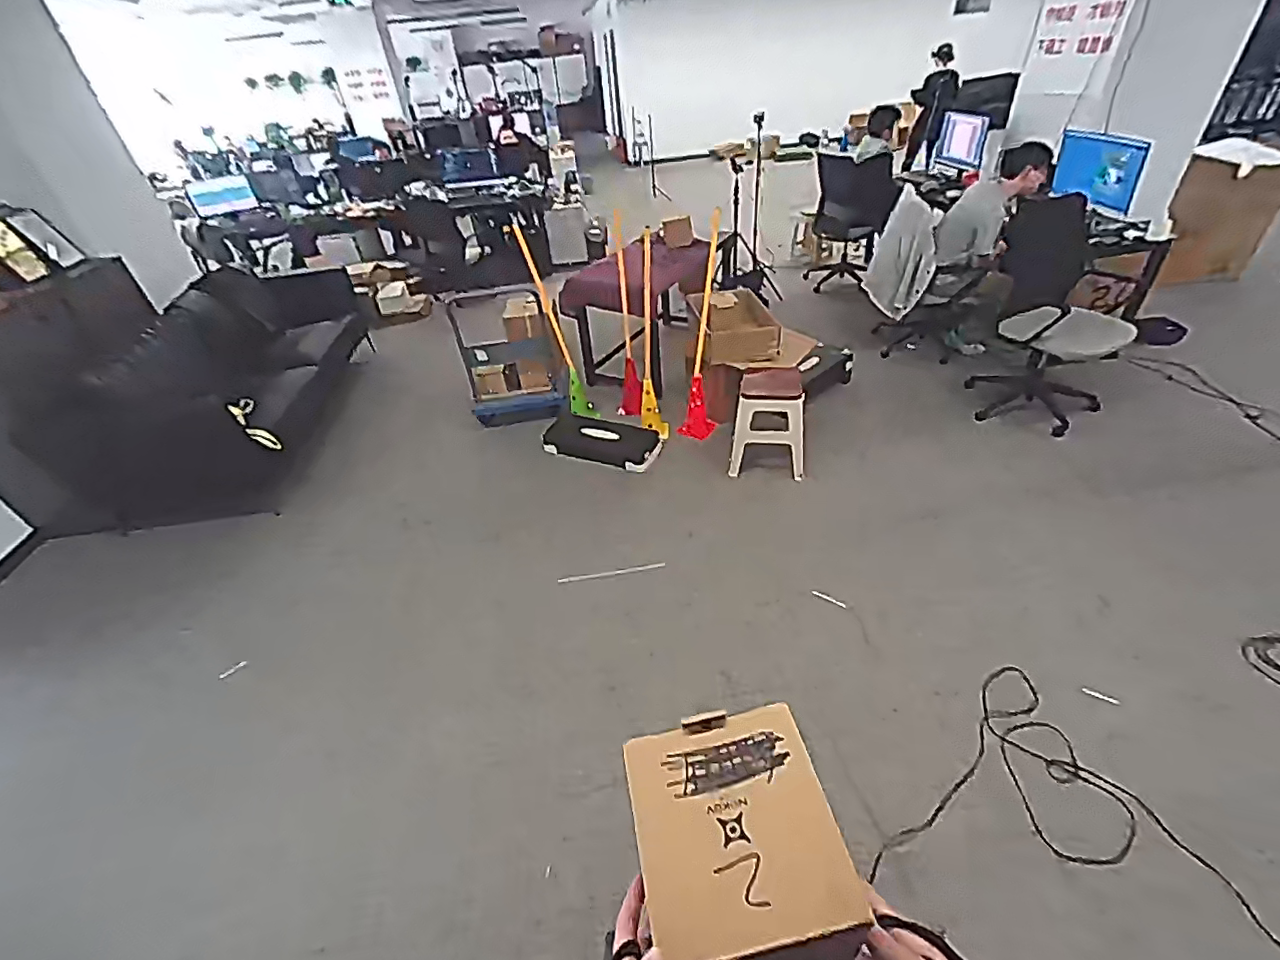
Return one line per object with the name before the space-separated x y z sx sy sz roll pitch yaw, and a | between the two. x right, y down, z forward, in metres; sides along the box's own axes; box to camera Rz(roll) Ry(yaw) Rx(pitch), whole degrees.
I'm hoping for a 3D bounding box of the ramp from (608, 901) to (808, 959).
ramp | 0.208 1.369 0.967 0.509 0.206 0.991 -10 38 -3
